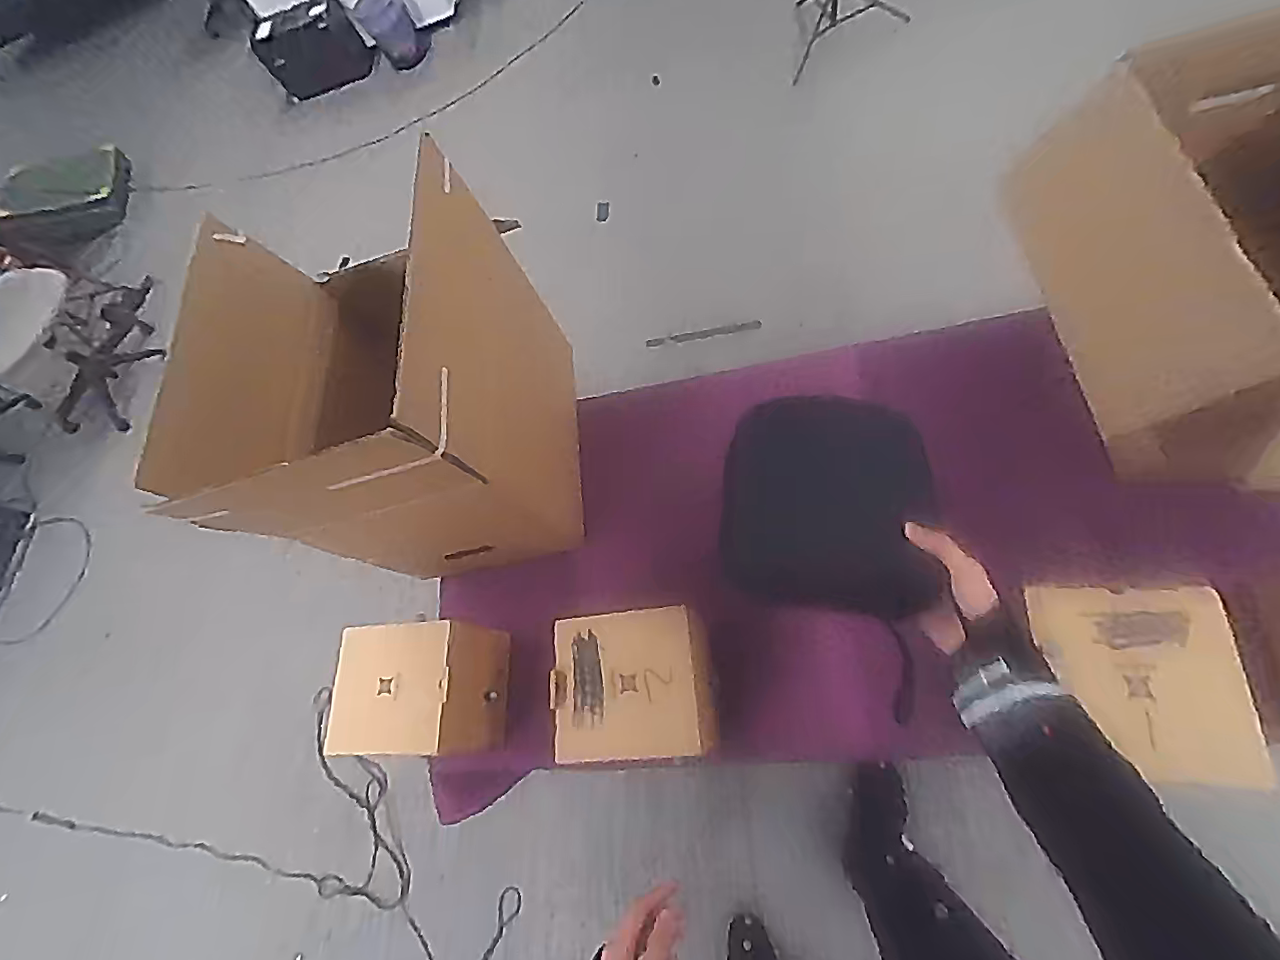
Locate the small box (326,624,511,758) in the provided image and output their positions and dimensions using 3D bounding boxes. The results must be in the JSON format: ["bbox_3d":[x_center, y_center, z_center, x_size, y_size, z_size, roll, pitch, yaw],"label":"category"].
[{"bbox_3d":[-0.311,0.310,0.792,0.179,0.176,0.168,-8,67,13],"label":"small box"}]
